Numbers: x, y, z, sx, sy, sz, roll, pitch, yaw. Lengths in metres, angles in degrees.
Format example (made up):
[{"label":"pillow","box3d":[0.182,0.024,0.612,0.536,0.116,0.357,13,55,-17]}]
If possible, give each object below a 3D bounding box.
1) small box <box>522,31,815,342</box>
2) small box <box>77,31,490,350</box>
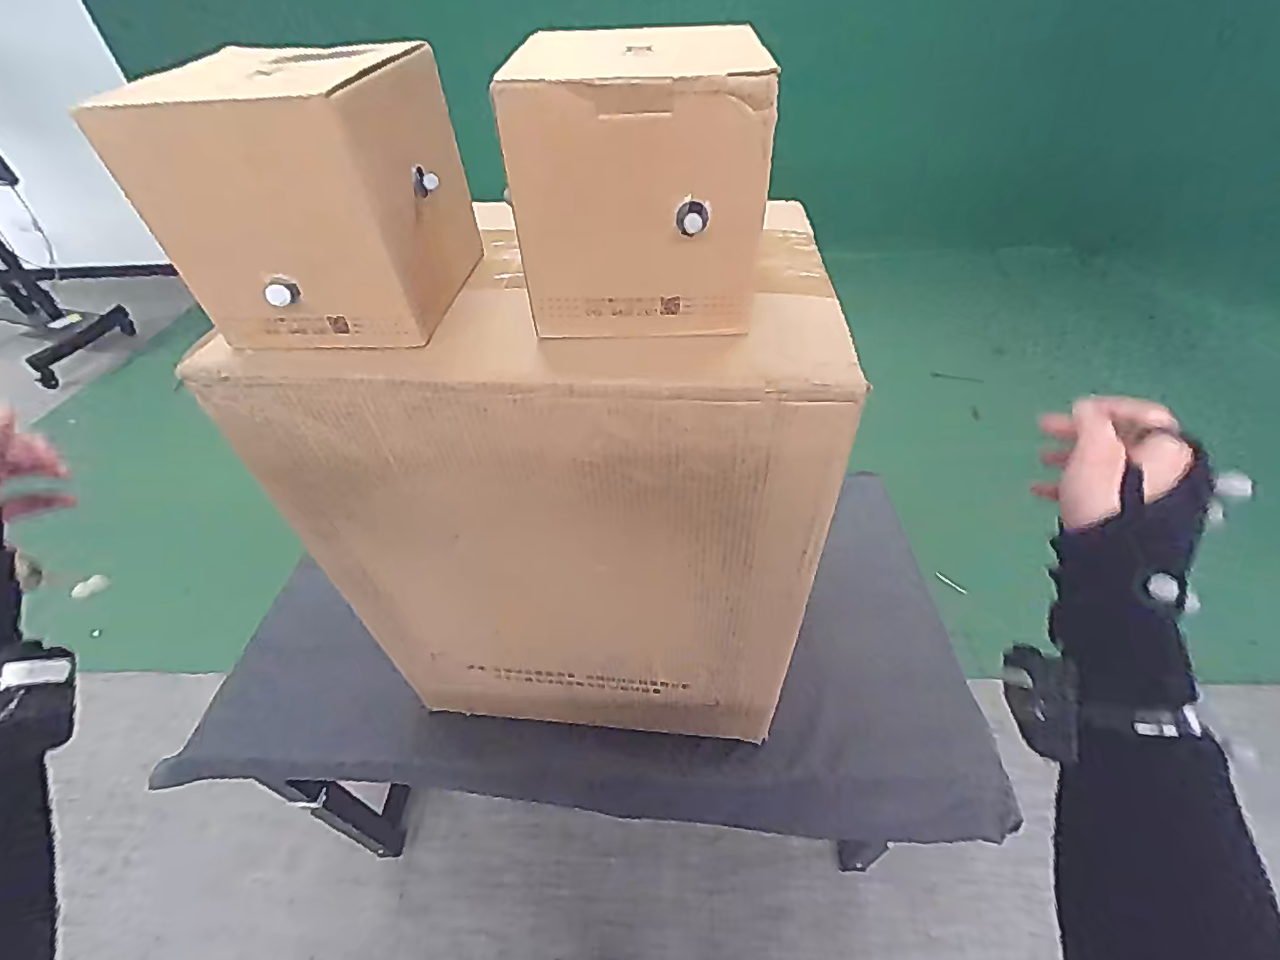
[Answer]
[{"label":"small box","box3d":[0.018,-0.219,0.410,0.168,0.176,0.179,1,46,0]},{"label":"small box","box3d":[-0.229,-0.220,0.413,0.168,0.176,0.179,3,47,7]}]
